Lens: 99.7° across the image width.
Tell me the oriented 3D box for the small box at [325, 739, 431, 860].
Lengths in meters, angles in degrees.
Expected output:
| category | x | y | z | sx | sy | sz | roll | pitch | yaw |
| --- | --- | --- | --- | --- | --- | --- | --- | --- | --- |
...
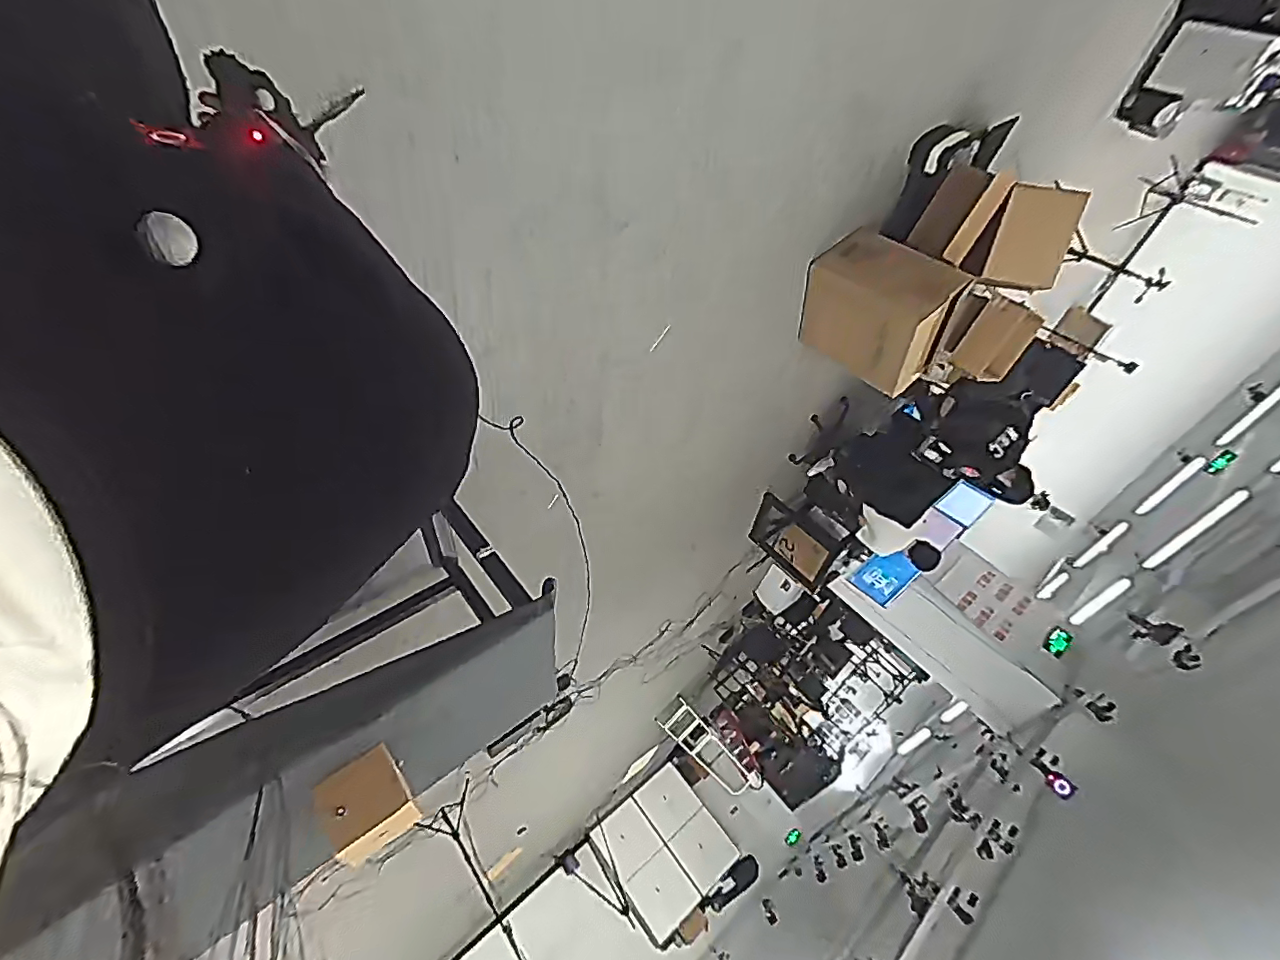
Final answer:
| category | x | y | z | sx | sy | sz | roll | pitch | yaw |
| --- | --- | --- | --- | --- | --- | --- | --- | --- | --- |
| small box | -0.647 | 0.783 | 1.332 | 0.179 | 0.176 | 0.168 | -31 | 149 | -30 |
